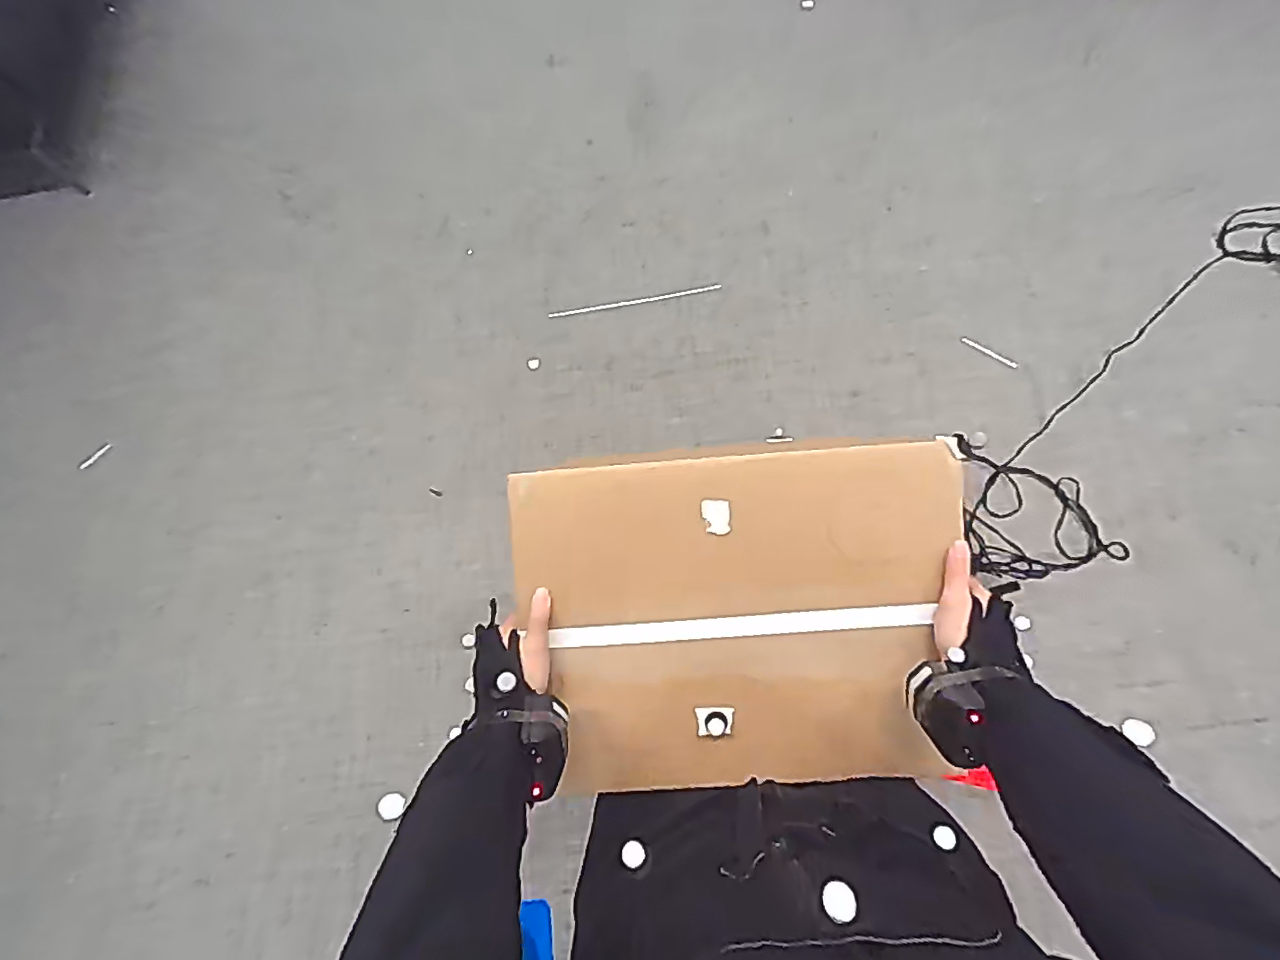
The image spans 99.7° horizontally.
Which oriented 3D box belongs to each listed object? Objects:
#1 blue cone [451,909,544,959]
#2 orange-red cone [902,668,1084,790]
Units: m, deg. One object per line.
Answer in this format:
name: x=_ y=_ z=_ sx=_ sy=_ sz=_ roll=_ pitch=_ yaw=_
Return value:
blue cone: x=-0.297 y=0.906 z=0.904 sx=0.192 sy=0.380 sz=0.193 roll=-8 pitch=71 yaw=5
orange-red cone: x=0.624 y=0.450 z=0.925 sx=0.199 sy=0.360 sz=0.198 roll=12 pitch=75 yaw=9
